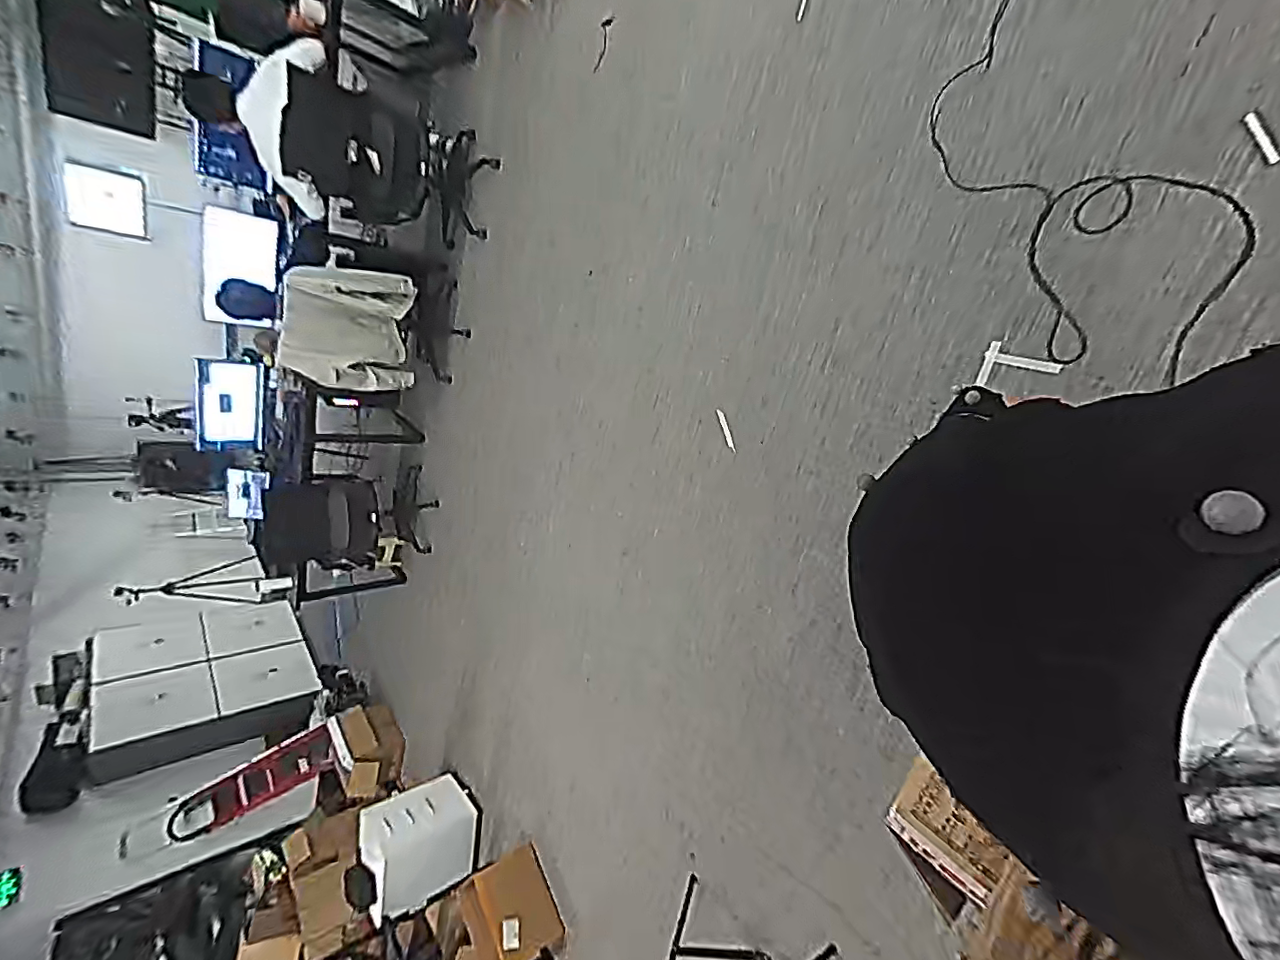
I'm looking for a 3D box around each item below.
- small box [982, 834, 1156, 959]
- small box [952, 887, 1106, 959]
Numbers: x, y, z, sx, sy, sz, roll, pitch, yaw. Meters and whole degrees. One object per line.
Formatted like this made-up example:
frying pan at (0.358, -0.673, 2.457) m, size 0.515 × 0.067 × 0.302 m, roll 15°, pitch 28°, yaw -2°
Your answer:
small box at (0.616, 0.679, 0.793) m, size 0.168 × 0.176 × 0.179 m, roll 31°, pitch 112°, yaw 39°
small box at (0.495, 0.678, 0.681) m, size 0.168 × 0.176 × 0.179 m, roll 35°, pitch 115°, yaw 38°
